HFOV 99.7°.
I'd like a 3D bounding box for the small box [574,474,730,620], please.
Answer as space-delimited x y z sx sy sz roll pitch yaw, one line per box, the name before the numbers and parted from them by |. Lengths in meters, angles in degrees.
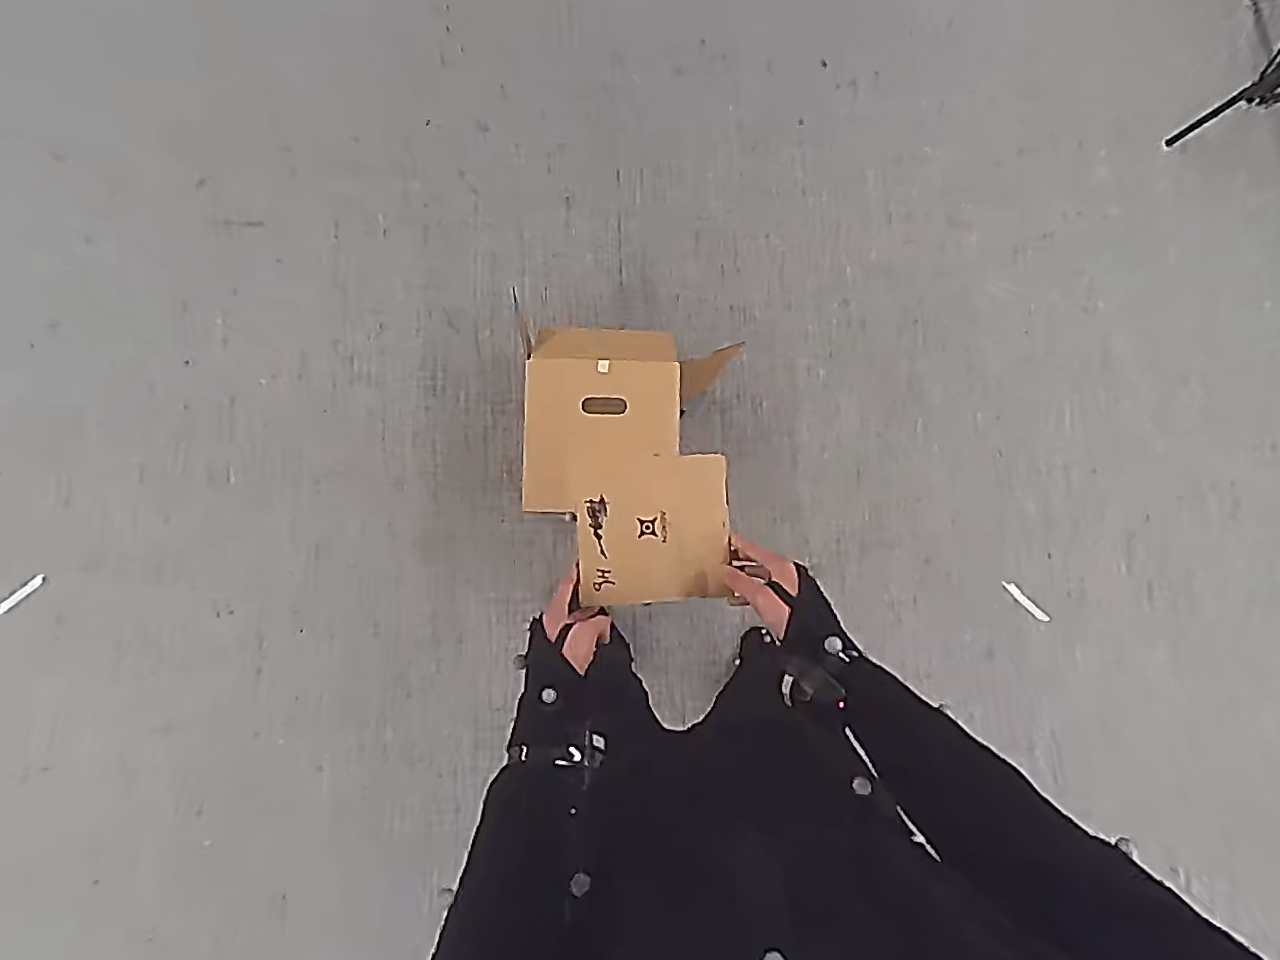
small box | 0.005 0.083 0.698 0.179 0.176 0.168 -2 83 -7
